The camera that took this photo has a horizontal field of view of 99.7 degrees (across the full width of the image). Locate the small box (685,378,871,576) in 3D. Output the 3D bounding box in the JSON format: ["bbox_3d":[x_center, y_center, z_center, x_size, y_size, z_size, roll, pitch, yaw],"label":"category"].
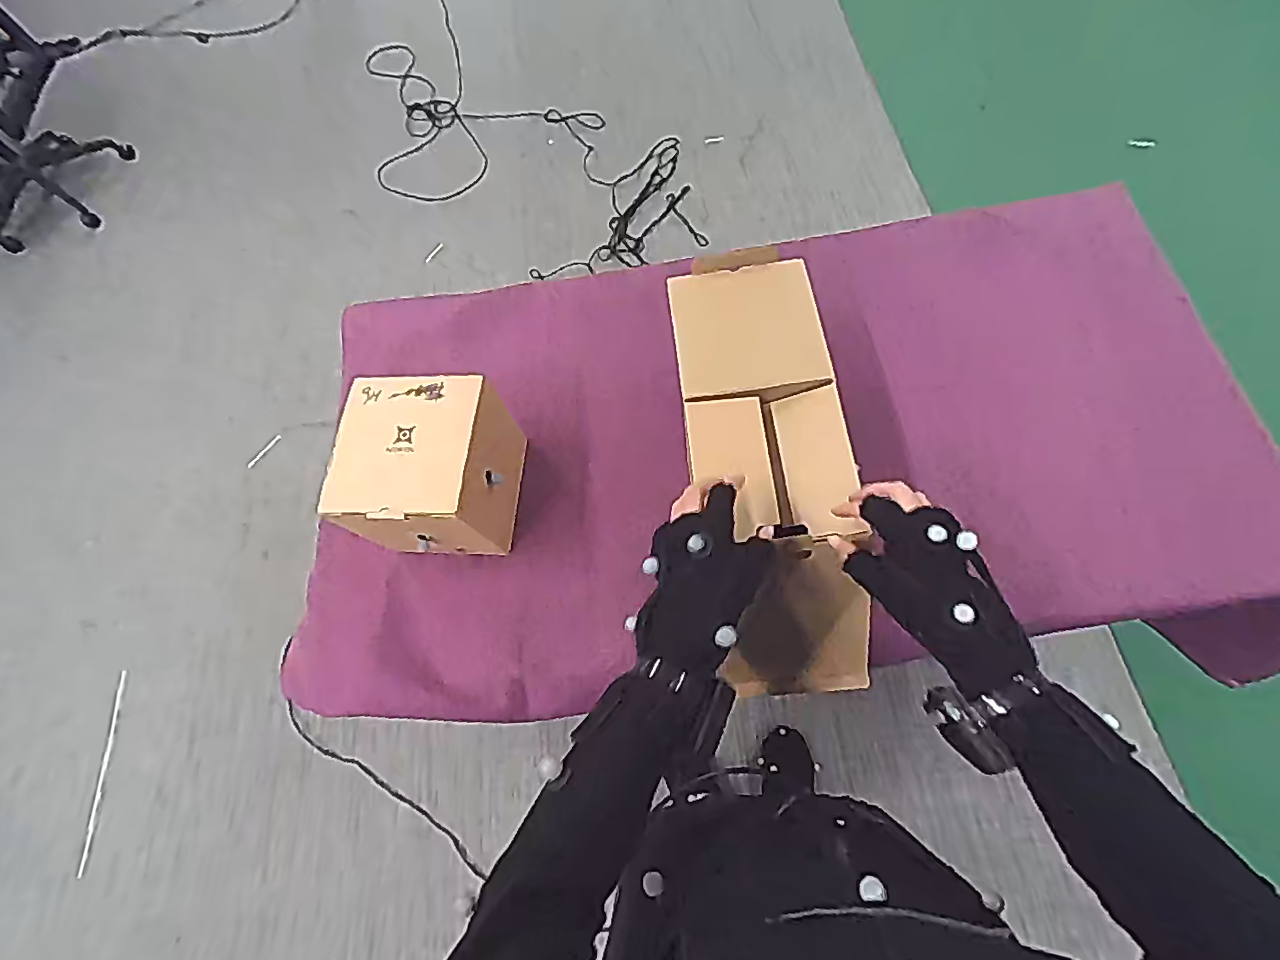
[{"bbox_3d":[0.145,0.009,0.623,0.168,0.176,0.179,-7,67,5],"label":"small box"}]

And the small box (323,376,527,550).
[{"bbox_3d":[-0.254,-0.013,0.686,0.168,0.176,0.179,1,69,8],"label":"small box"}]
